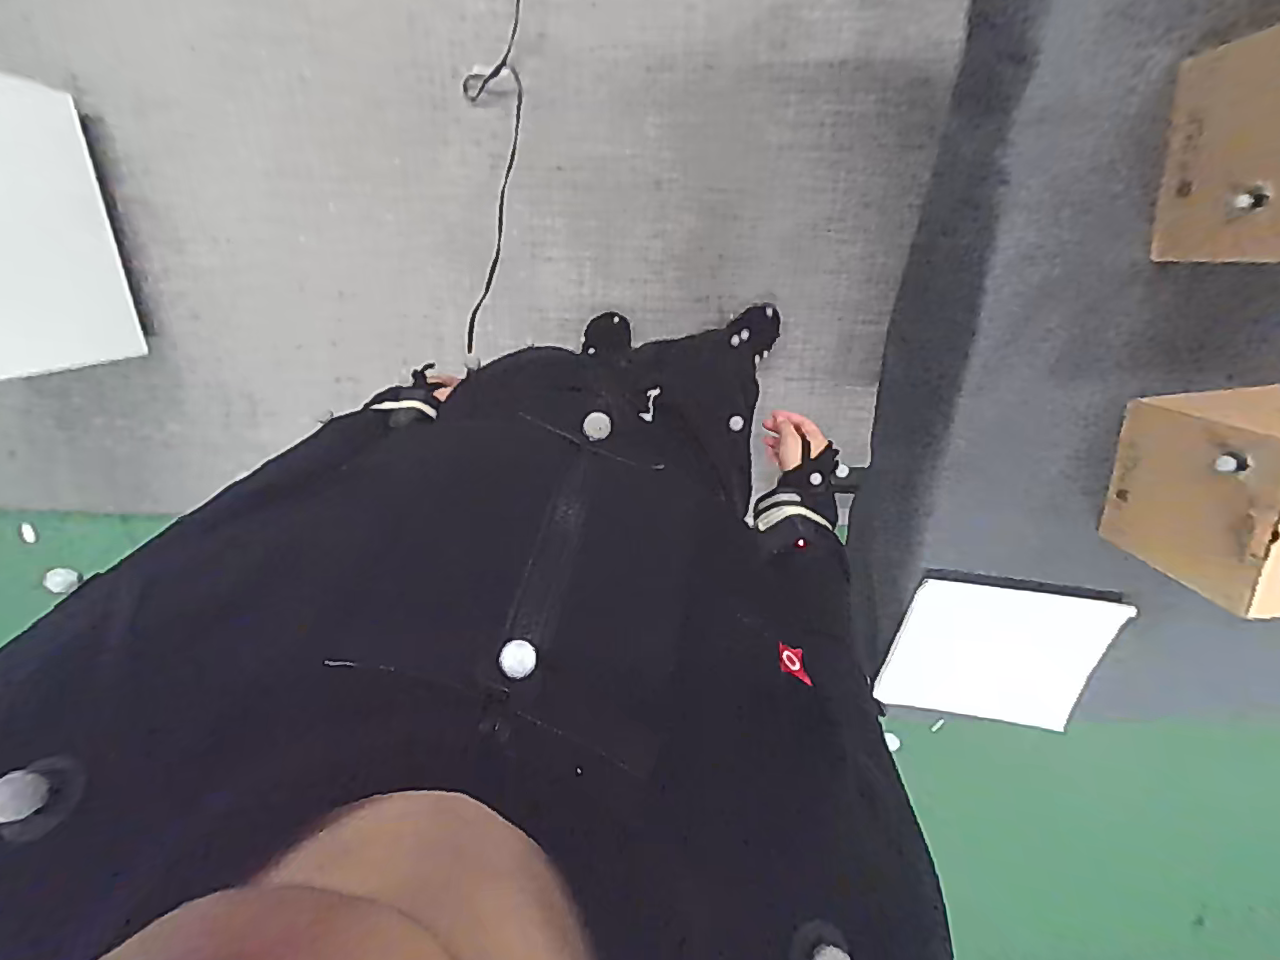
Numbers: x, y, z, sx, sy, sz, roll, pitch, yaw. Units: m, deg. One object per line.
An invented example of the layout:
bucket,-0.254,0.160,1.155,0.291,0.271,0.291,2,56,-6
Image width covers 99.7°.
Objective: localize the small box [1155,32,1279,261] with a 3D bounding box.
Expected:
small box,0.568,-0.270,0.419,0.179,0.176,0.168,-9,113,3
